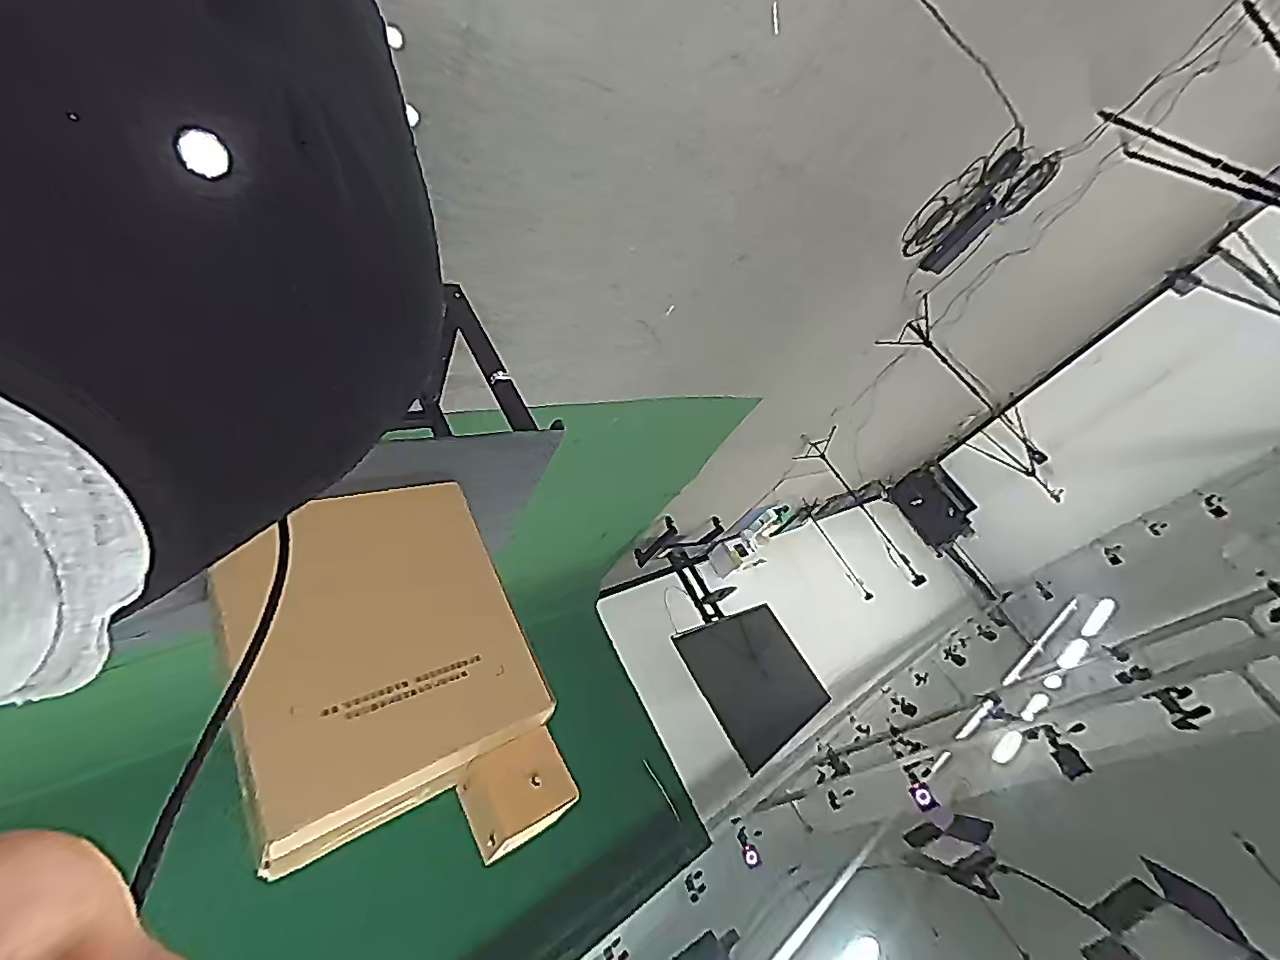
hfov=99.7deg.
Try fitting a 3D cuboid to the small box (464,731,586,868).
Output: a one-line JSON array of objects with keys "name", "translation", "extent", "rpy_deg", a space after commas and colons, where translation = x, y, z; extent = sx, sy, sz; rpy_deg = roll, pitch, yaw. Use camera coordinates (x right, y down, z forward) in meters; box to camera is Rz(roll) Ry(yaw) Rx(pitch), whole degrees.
[{"name": "small box", "translation": [-0.253, 0.680, 1.168], "extent": [0.179, 0.176, 0.168], "rpy_deg": [-10, 141, -42]}]
